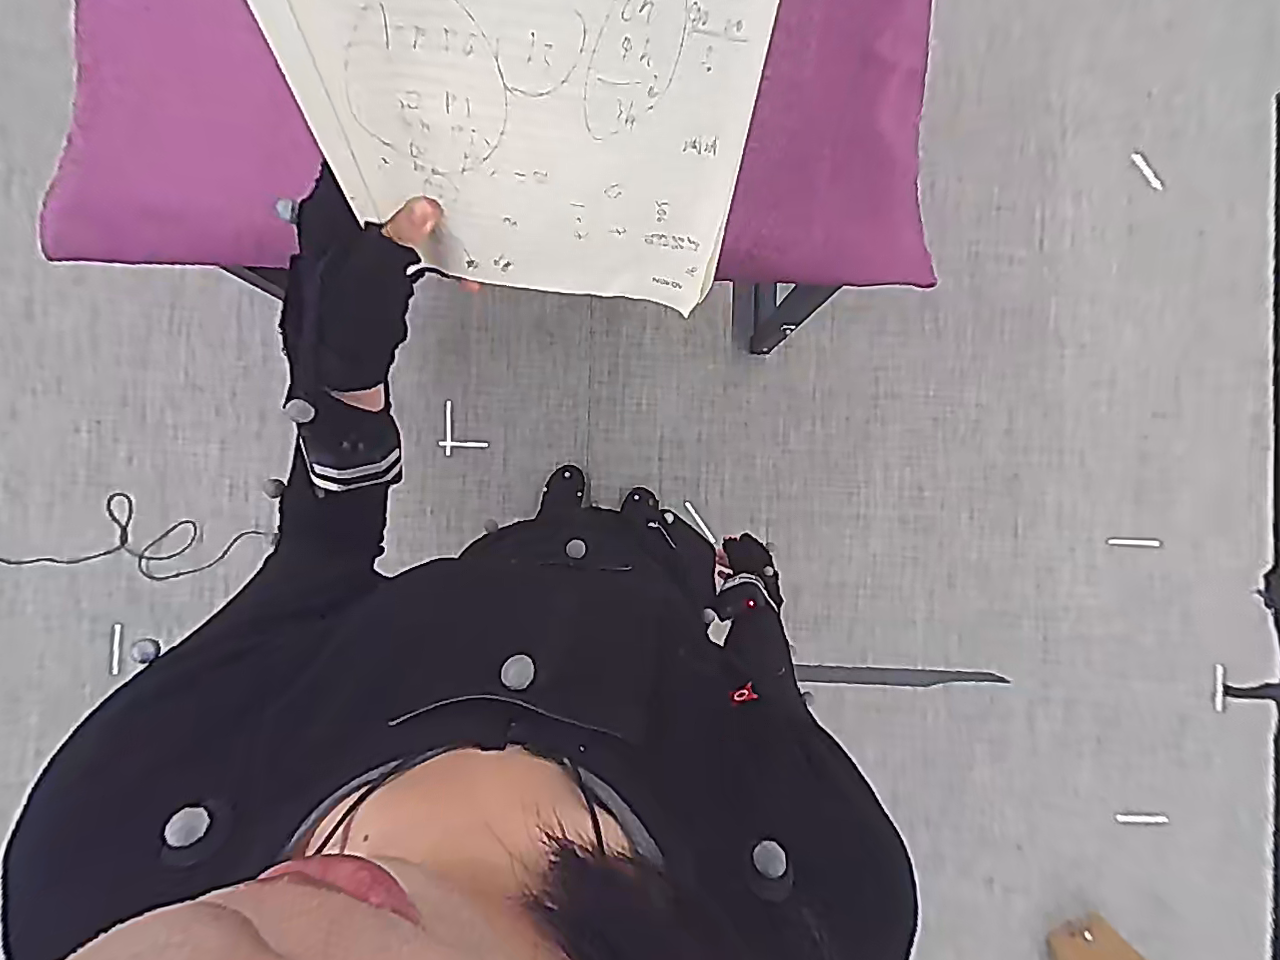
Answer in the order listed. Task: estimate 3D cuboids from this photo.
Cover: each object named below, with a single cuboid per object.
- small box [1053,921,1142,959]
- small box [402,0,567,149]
[{"bbox_3d":[1.278,1.364,1.464,0.168,0.176,0.179,-21,89,-2],"label":"small box"},{"bbox_3d":[-0.189,-0.564,0.707,0.179,0.176,0.168,1,89,-3],"label":"small box"}]
